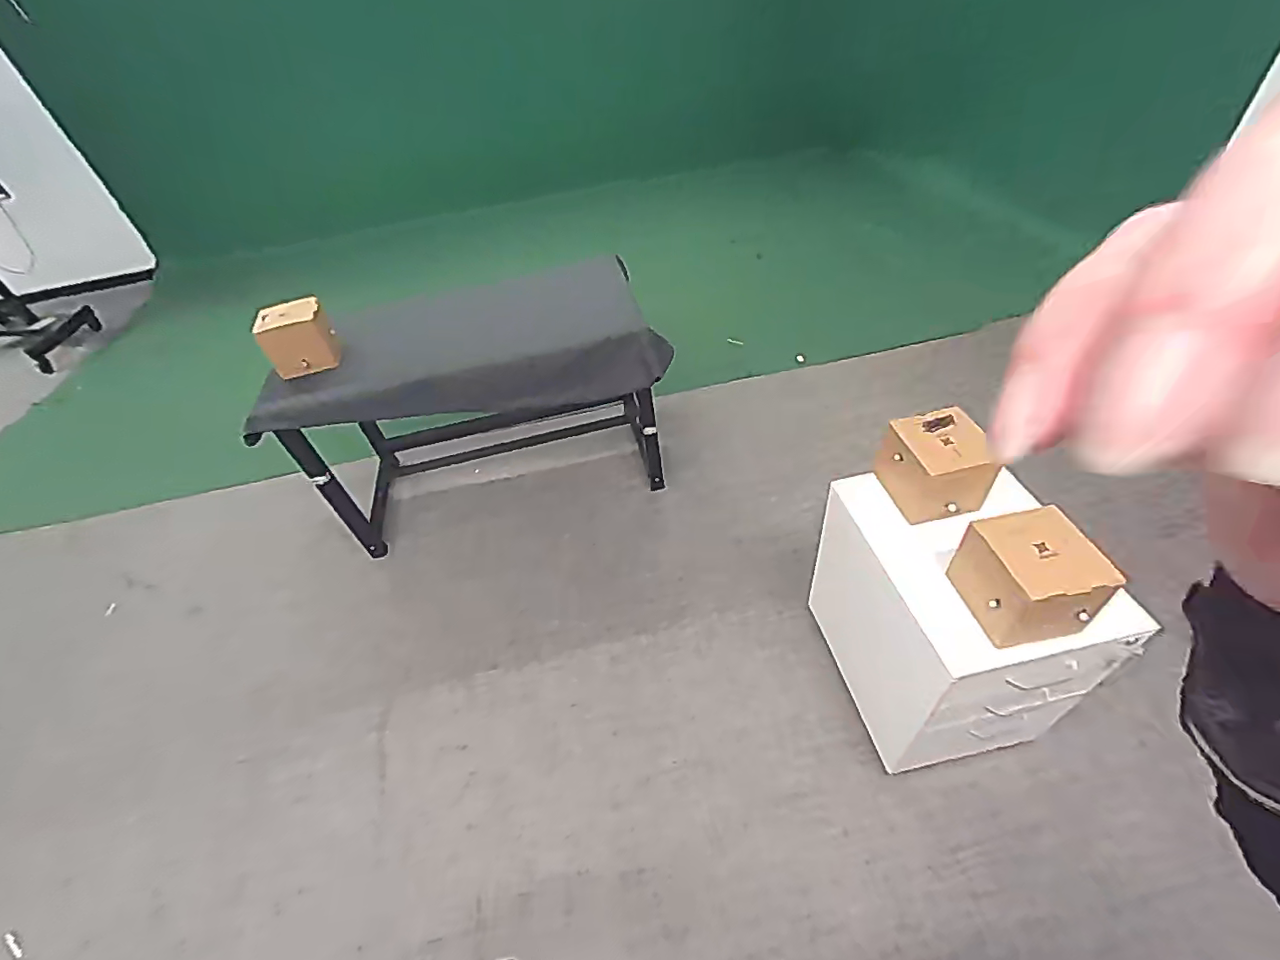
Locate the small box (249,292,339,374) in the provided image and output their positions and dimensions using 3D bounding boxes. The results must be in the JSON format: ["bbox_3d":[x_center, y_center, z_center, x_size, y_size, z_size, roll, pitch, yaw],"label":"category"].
[{"bbox_3d":[-1.064,-0.455,1.681,0.179,0.176,0.168,-17,45,-10],"label":"small box"}]

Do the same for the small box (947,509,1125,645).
[{"bbox_3d":[0.704,0.183,0.987,0.168,0.176,0.179,-10,44,-3],"label":"small box"}]

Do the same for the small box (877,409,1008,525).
[{"bbox_3d":[0.652,-0.027,1.194,0.168,0.176,0.179,-12,48,-3],"label":"small box"}]
